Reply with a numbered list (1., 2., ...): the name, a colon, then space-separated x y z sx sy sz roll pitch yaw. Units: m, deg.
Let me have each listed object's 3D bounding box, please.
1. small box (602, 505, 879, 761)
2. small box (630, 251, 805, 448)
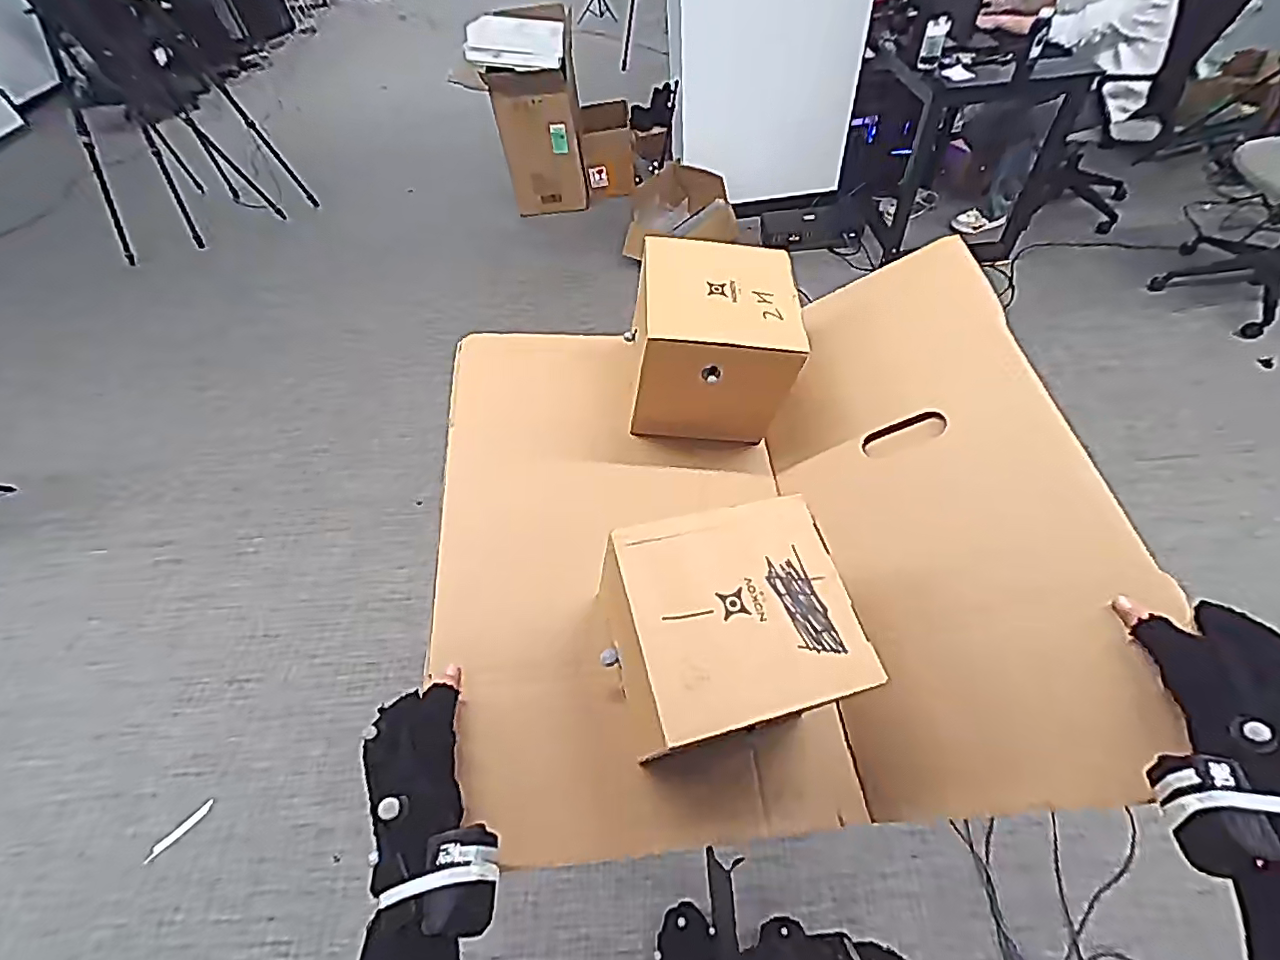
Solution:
1. small box: 0.070 0.144 0.493 0.179 0.176 0.168 -10 62 -13
2. small box: 0.082 -0.155 0.674 0.179 0.176 0.168 4 59 -6
